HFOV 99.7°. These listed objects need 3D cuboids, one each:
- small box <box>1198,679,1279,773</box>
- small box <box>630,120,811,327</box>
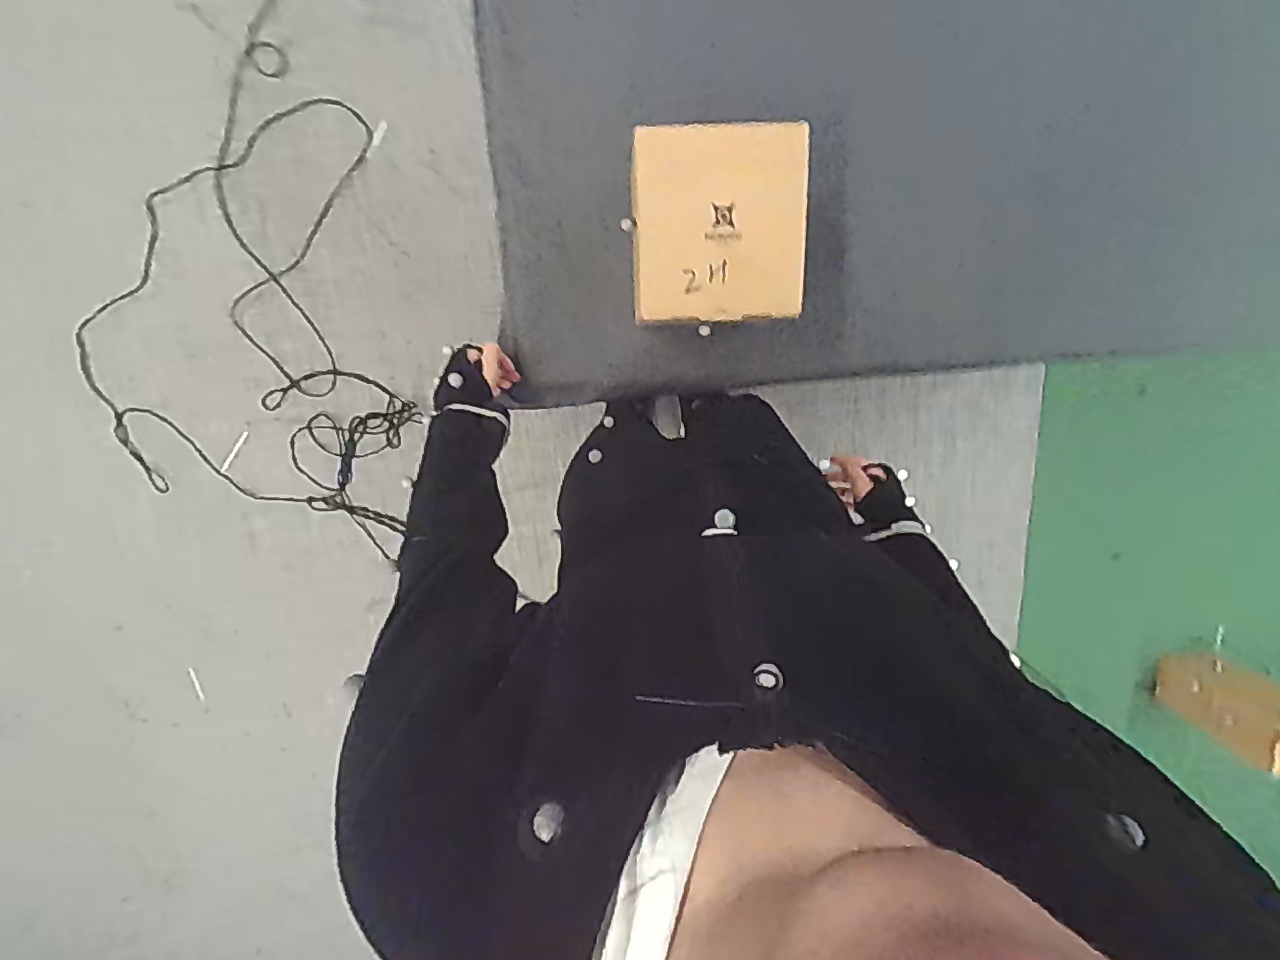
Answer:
[{"bbox_3d":[1.750,0.682,1.519,0.179,0.176,0.168,-7,105,-2],"label":"small box"},{"bbox_3d":[0.076,-0.265,0.595,0.168,0.176,0.179,-2,103,-3],"label":"small box"}]
